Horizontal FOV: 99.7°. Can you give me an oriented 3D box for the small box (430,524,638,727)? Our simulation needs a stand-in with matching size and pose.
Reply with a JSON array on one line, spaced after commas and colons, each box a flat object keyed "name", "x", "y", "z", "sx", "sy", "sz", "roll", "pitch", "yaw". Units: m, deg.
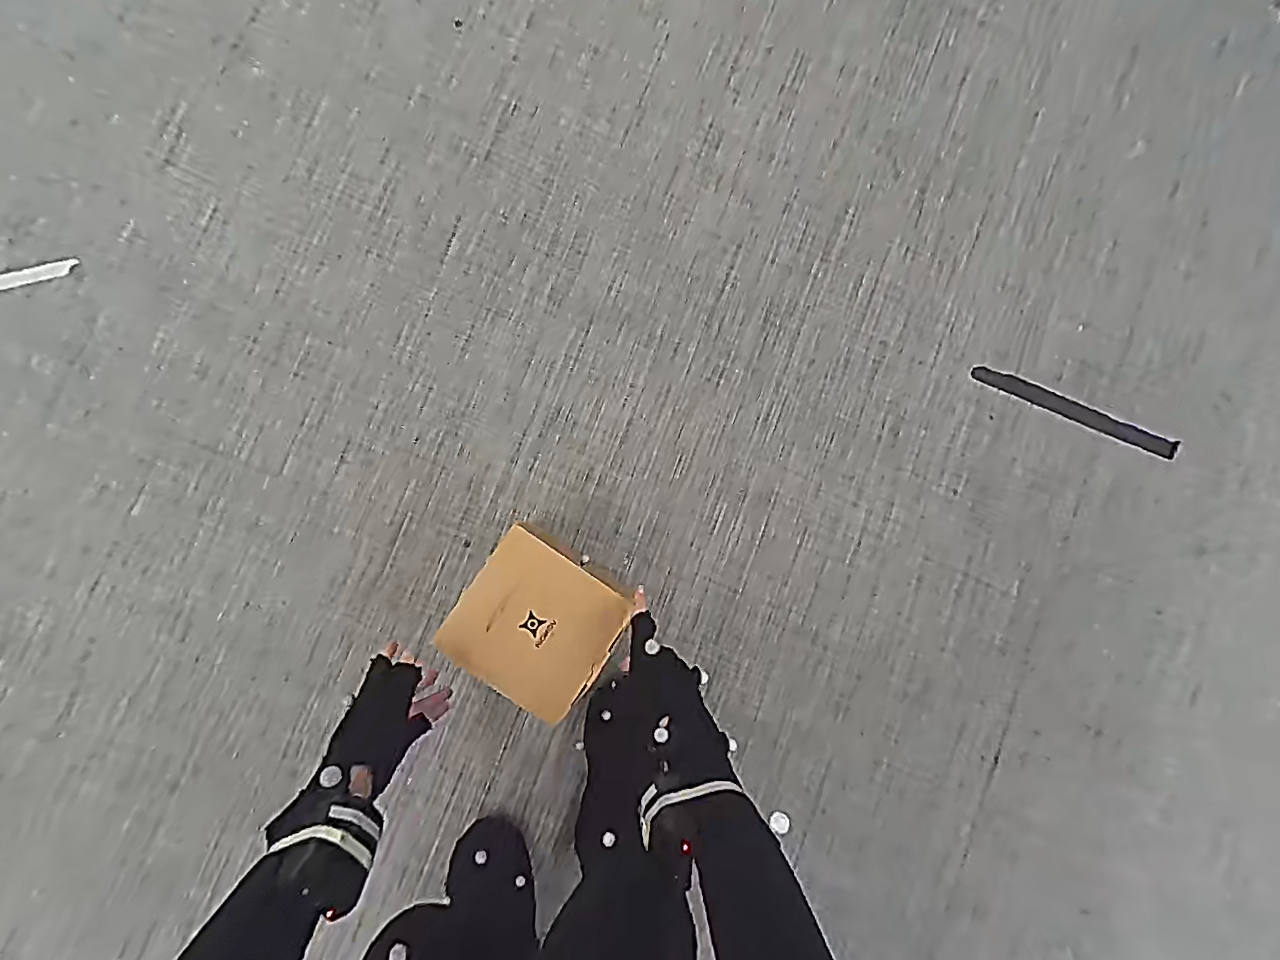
[{"name": "small box", "x": -0.124, "y": 0.168, "z": 0.685, "sx": 0.179, "sy": 0.176, "sz": 0.168, "roll": 34, "pitch": 82, "yaw": -1}]
